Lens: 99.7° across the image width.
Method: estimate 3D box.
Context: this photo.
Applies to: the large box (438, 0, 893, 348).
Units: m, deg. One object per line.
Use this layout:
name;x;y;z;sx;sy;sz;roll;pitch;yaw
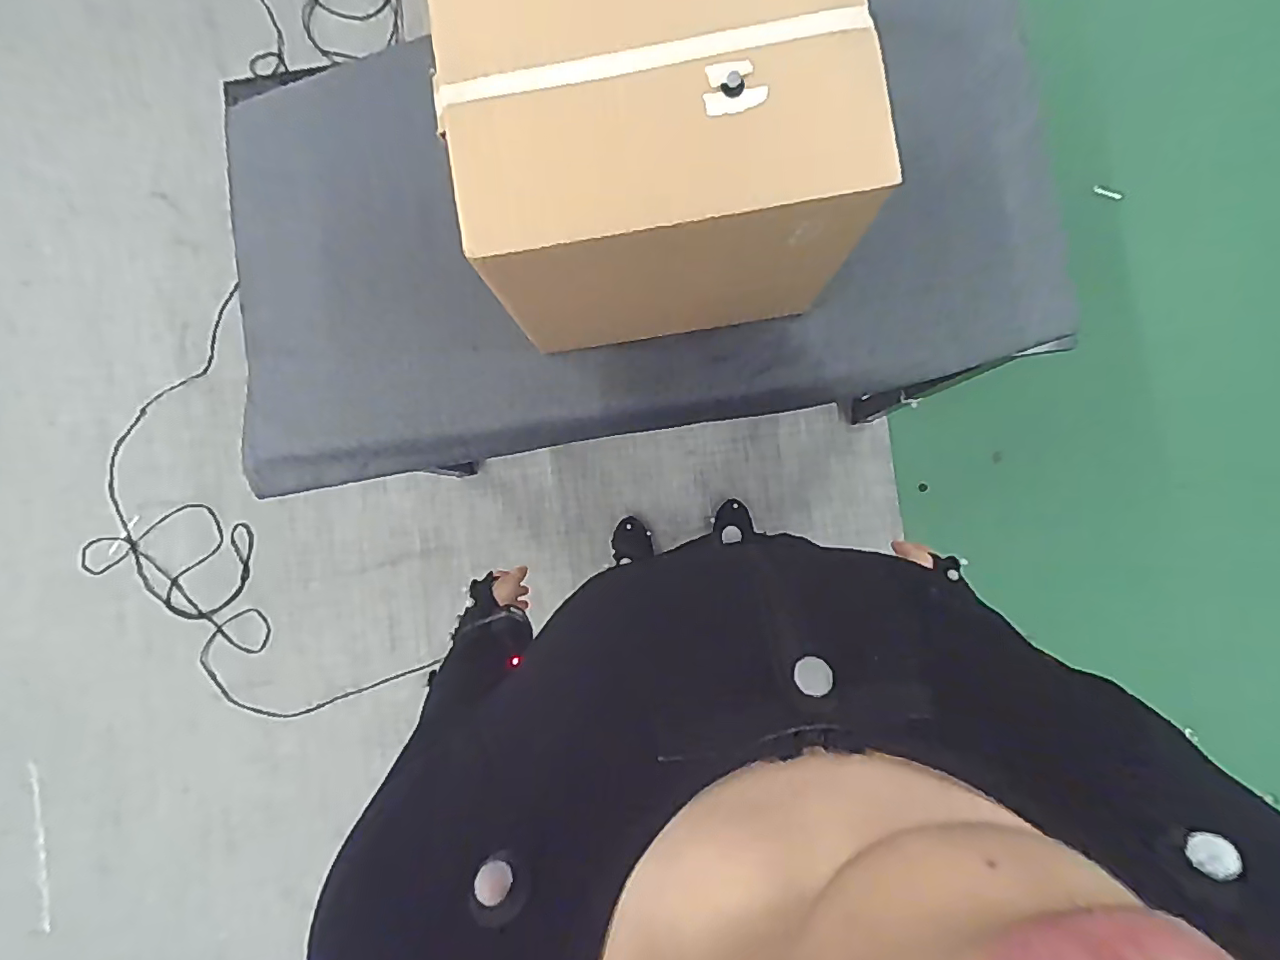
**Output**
large box;0.020;-0.386;0.663;0.408;0.320;0.320;-9;87;2
